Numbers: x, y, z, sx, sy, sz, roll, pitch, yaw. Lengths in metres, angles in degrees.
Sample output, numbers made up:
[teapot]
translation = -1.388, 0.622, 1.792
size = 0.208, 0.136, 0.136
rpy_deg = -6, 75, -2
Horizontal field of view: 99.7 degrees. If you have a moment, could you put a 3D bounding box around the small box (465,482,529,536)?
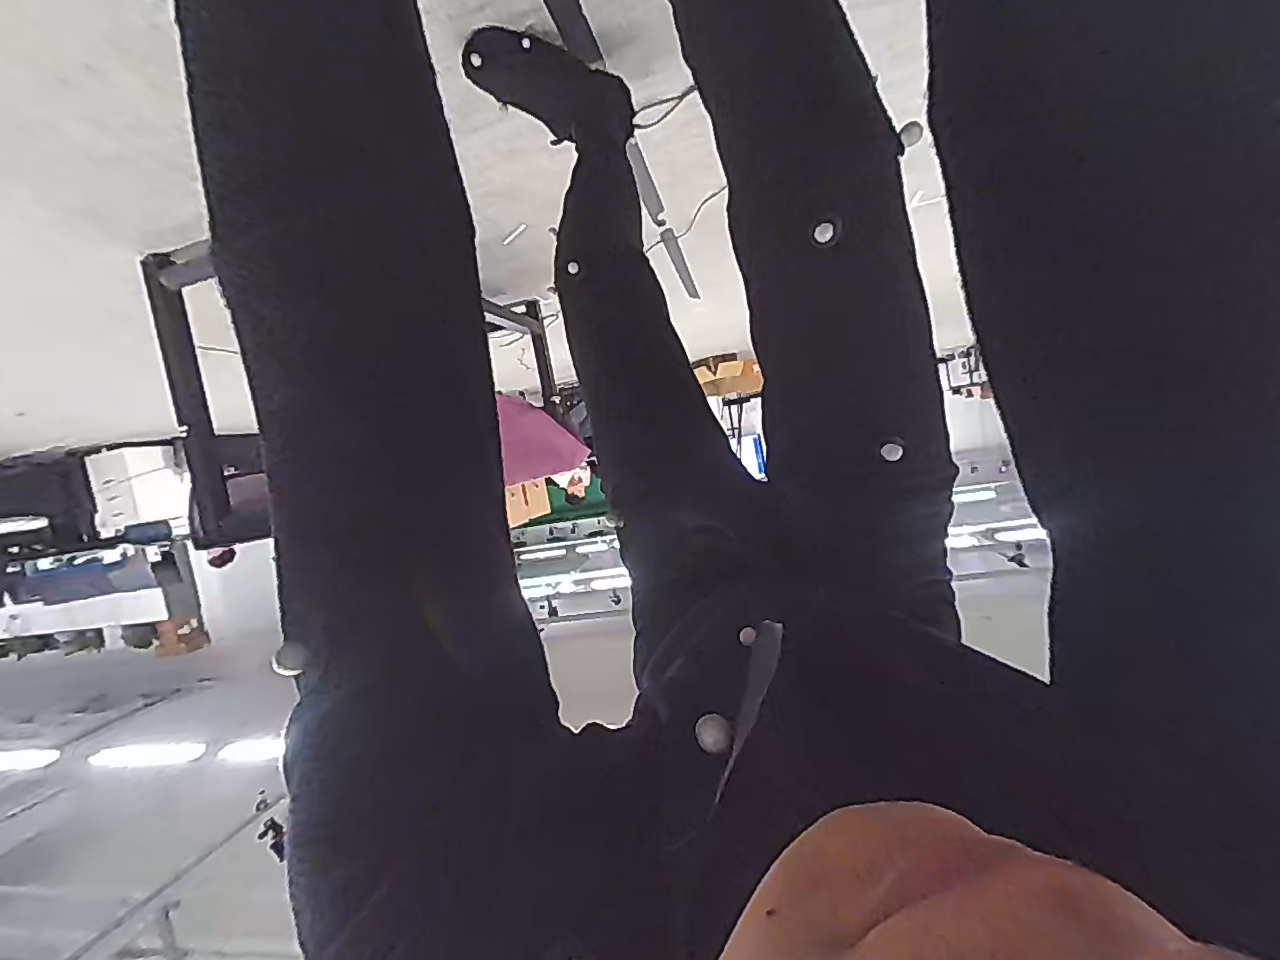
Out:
[small box]
translation = -0.553, 0.107, 2.083
size = 0.179, 0.176, 0.168
rpy_deg = -10, -176, 18
